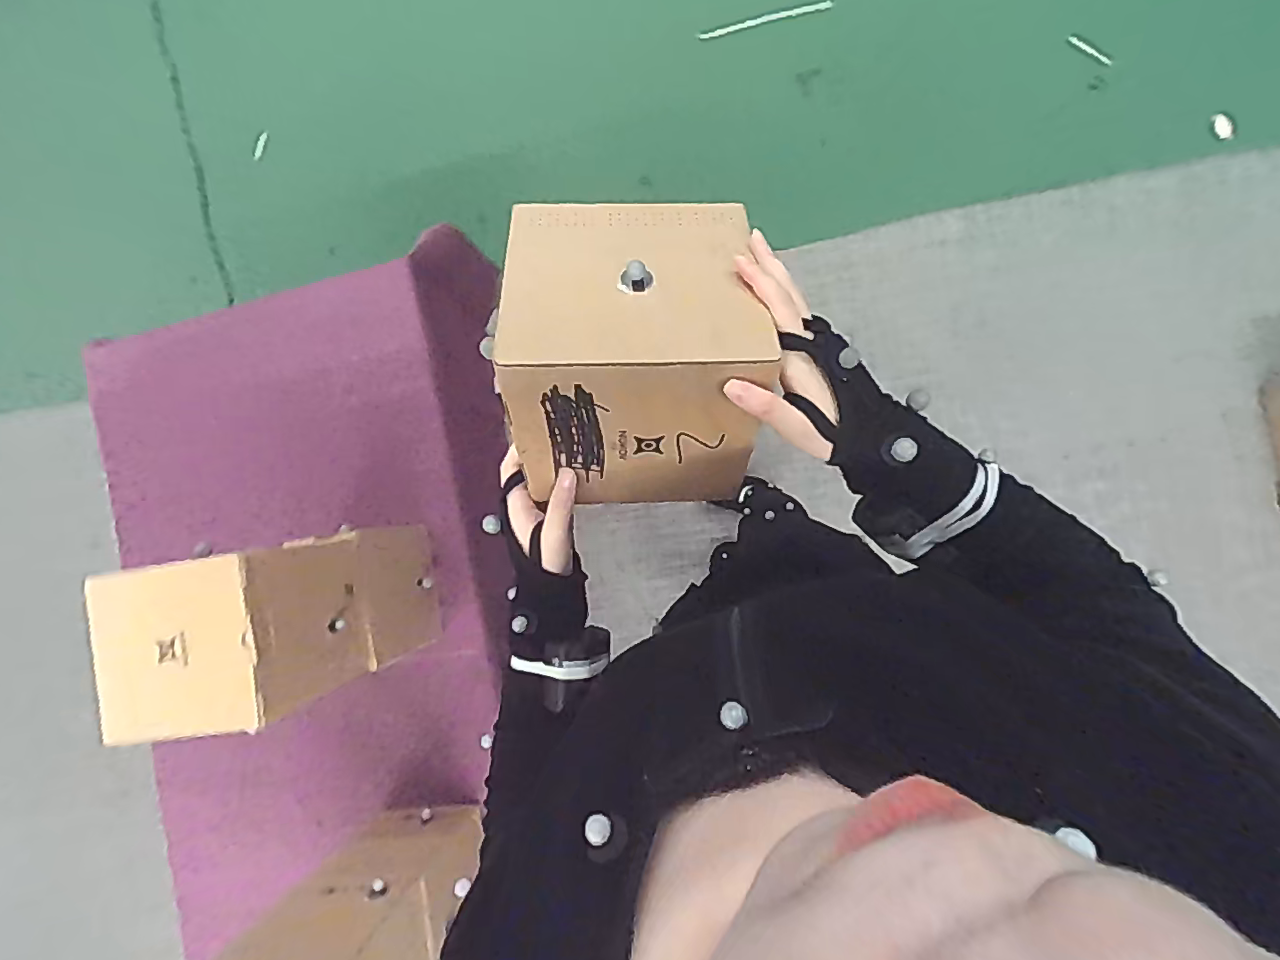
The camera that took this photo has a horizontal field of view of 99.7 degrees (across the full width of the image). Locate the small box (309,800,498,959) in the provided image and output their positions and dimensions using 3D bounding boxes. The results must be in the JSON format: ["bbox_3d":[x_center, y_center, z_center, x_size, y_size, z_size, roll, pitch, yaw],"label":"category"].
[{"bbox_3d":[-0.308,0.574,0.737,0.168,0.176,0.179,-10,87,7],"label":"small box"}]

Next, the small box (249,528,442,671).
[{"bbox_3d":[-0.403,0.164,0.758,0.168,0.176,0.179,-11,87,8],"label":"small box"}]

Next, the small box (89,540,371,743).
[{"bbox_3d":[-0.435,0.164,0.598,0.179,0.176,0.168,-10,88,6],"label":"small box"}]
